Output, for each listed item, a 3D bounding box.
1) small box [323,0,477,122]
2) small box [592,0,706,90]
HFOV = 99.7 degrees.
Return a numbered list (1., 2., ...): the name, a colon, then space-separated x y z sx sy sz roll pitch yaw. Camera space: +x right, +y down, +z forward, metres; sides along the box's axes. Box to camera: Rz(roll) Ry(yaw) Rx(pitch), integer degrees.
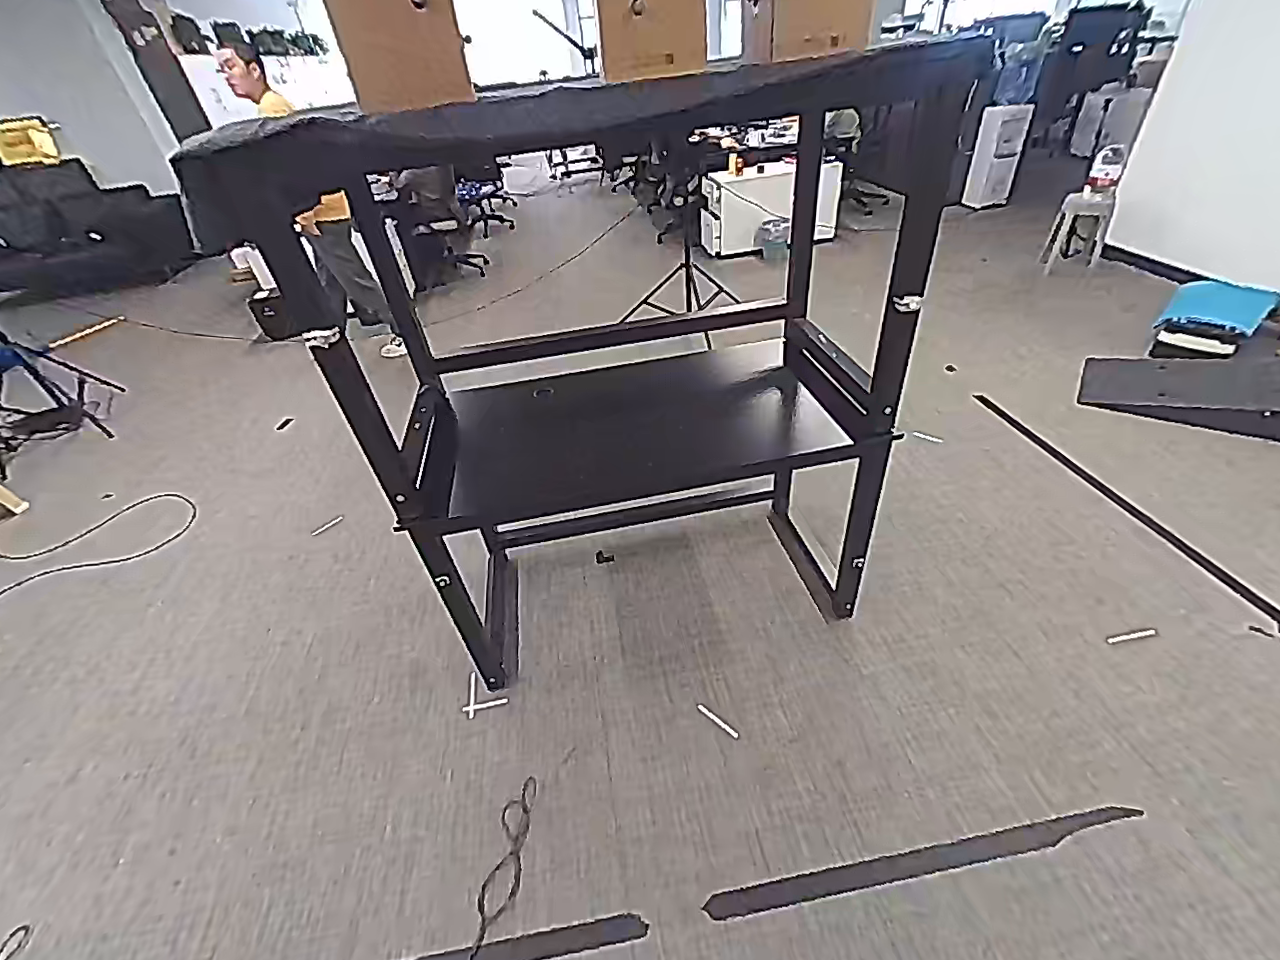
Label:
1. small box: -0.360 -0.671 0.840 0.179 0.176 0.168 -13 37 -7
2. small box: 0.012 -0.753 0.886 0.168 0.176 0.179 -8 37 -2
